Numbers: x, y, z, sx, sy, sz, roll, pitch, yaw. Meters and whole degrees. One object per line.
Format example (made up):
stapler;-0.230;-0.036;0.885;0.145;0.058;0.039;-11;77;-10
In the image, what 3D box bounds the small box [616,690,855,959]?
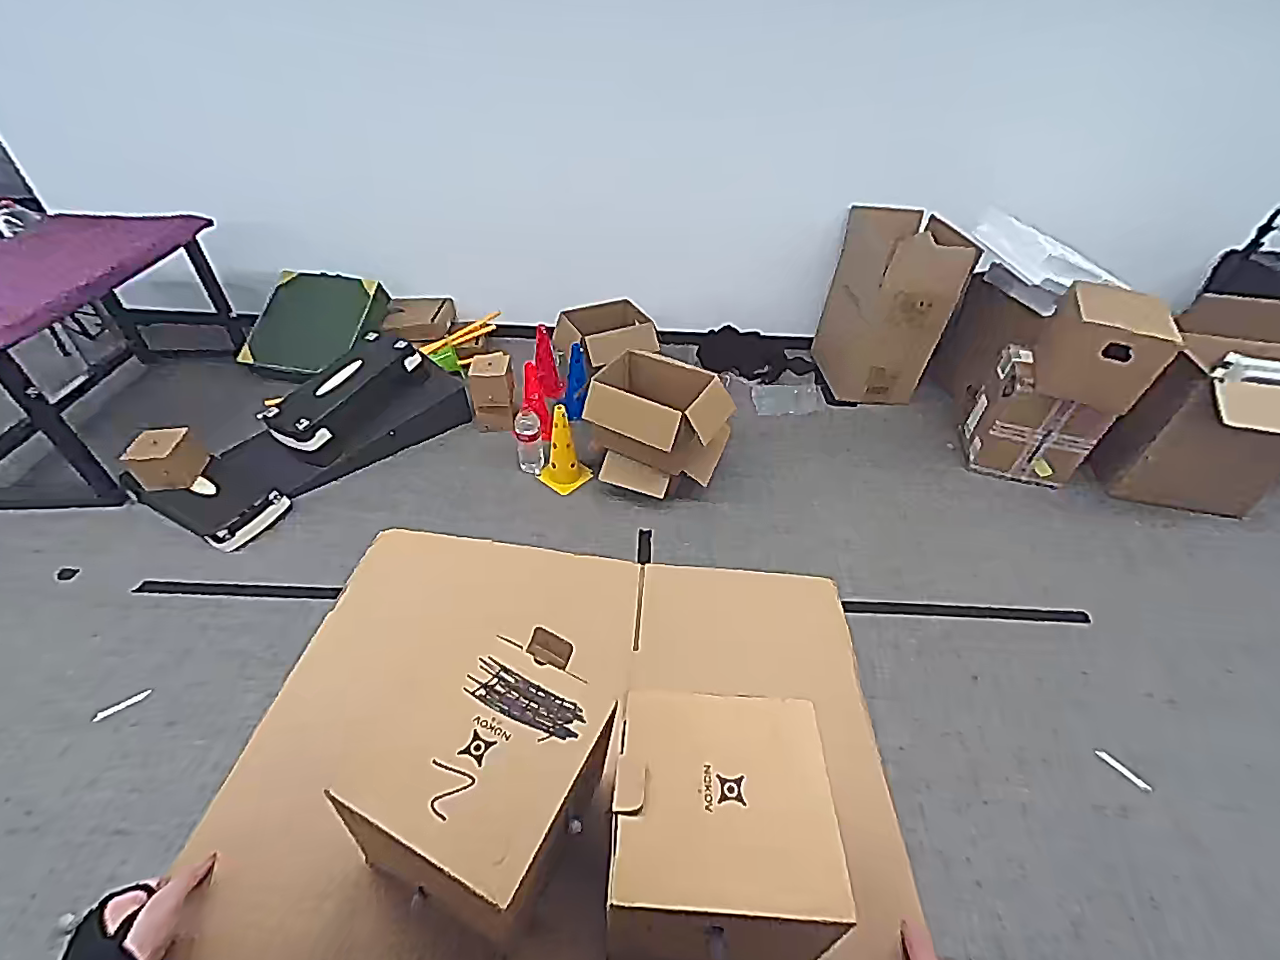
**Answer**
small box;0.072;0.319;0.502;0.179;0.176;0.168;2;39;2
